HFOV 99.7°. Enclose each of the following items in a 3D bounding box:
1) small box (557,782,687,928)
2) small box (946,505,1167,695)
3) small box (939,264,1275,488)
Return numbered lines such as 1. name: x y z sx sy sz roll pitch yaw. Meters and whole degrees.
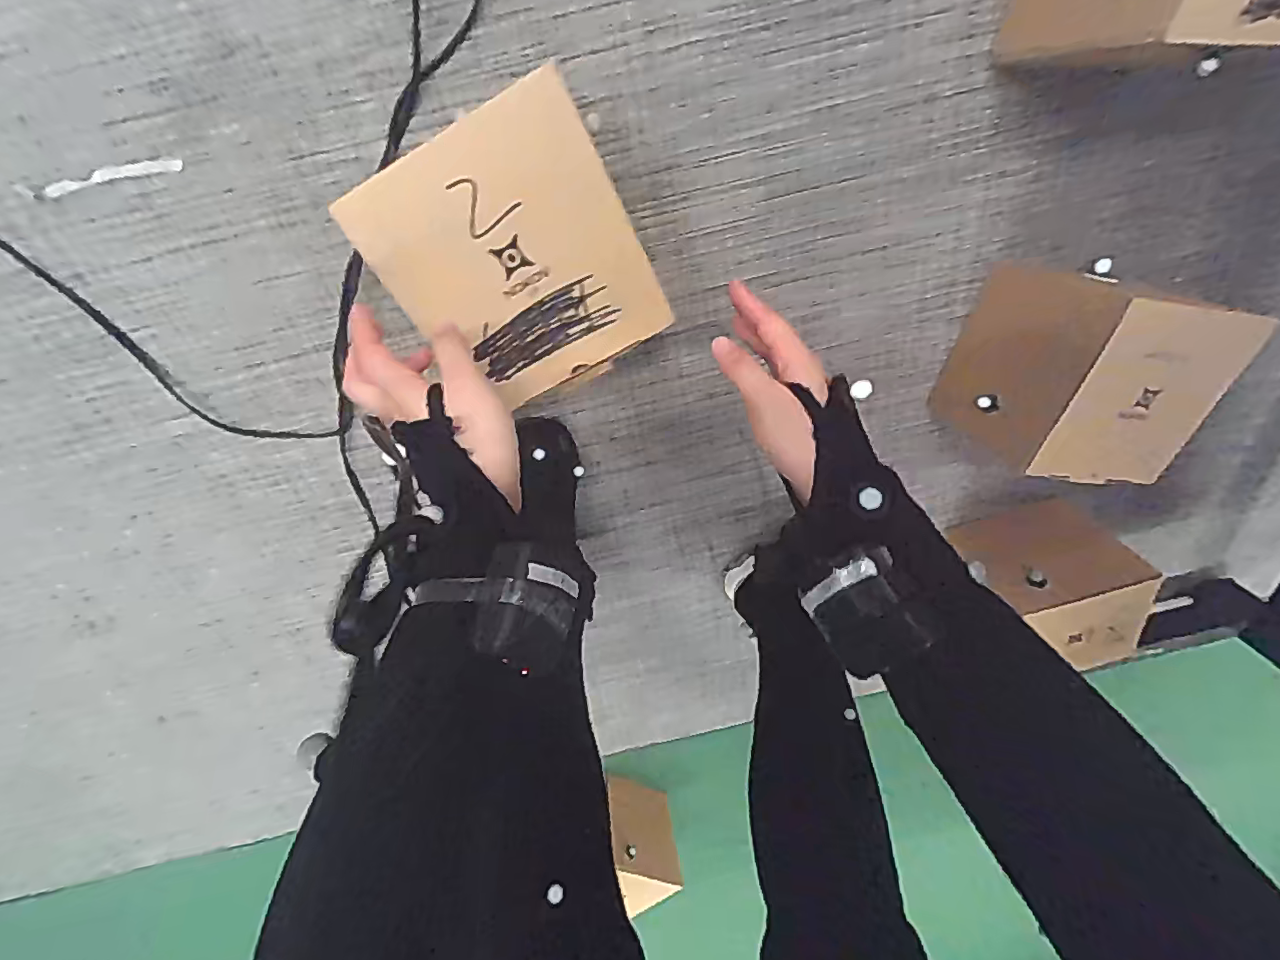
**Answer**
1. small box: -0.039 0.705 1.023 0.179 0.176 0.168 36 111 -26
2. small box: 0.560 0.162 0.759 0.179 0.176 0.168 -18 124 3
3. small box: 0.455 -0.112 0.568 0.168 0.176 0.179 3 121 -11
